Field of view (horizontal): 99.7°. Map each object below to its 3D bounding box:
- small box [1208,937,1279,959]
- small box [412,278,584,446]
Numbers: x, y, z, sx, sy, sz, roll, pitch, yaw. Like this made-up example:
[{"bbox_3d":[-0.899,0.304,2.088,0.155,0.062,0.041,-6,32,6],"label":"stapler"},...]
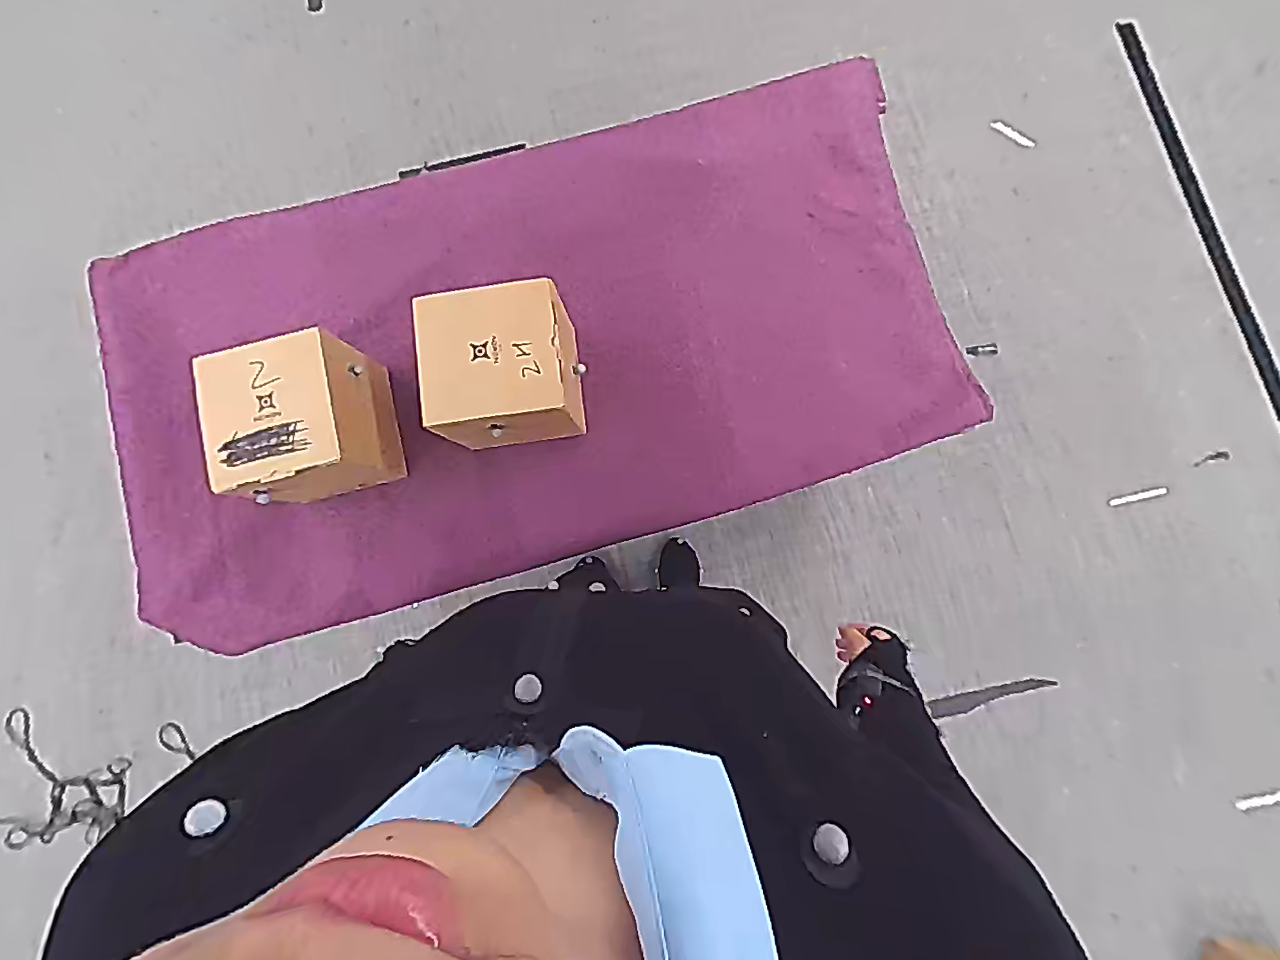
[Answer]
[{"bbox_3d":[1.464,1.212,1.242,0.168,0.176,0.179,11,85,3],"label":"small box"},{"bbox_3d":[-0.181,-0.146,0.727,0.179,0.176,0.168,-7,84,2],"label":"small box"}]
